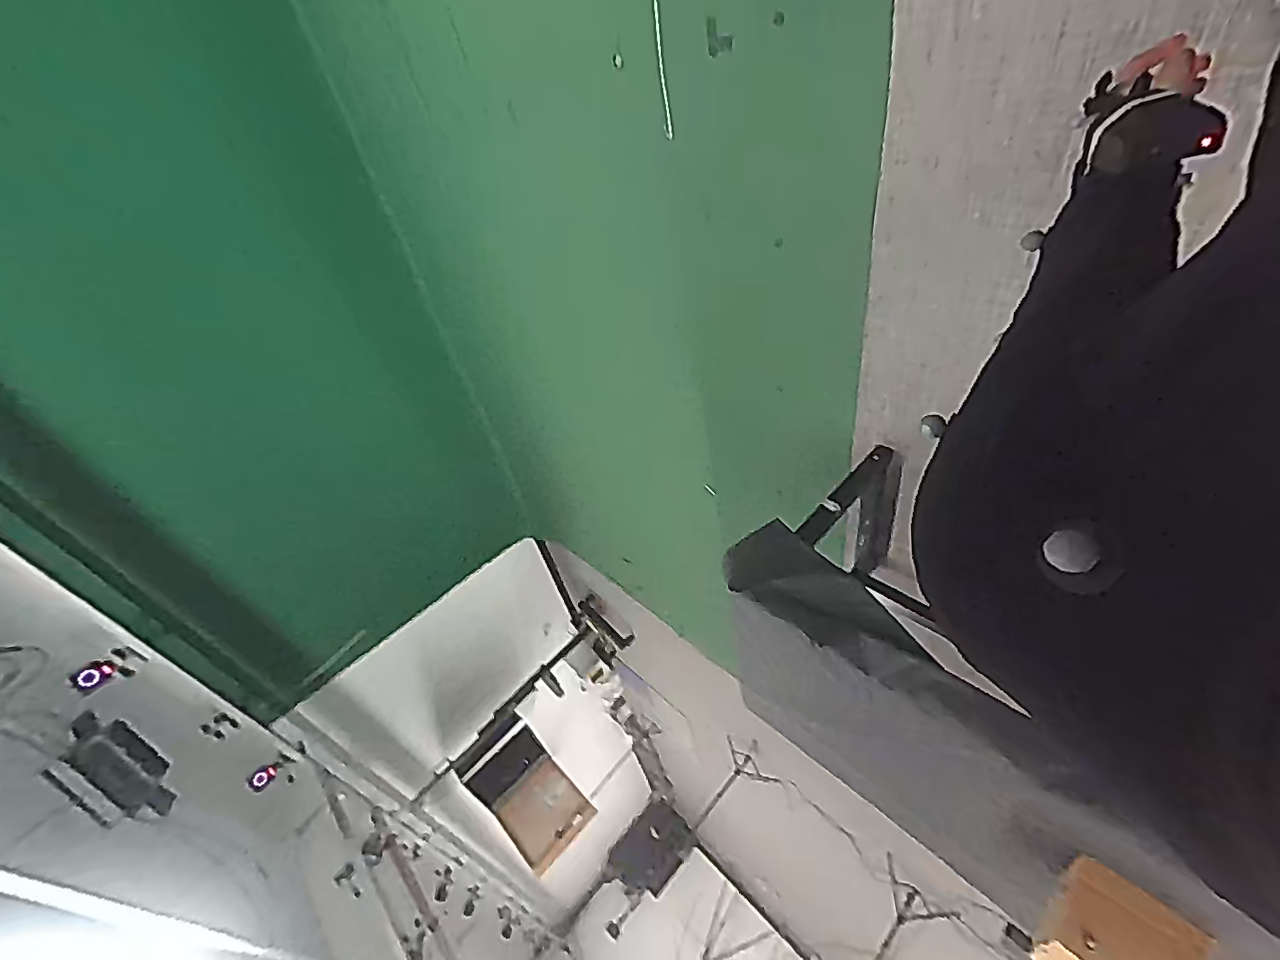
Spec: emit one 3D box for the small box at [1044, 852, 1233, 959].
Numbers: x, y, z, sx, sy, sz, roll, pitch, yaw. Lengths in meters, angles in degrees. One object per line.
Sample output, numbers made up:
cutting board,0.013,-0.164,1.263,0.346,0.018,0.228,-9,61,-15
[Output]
small box,0.833,0.782,0.910,0.179,0.176,0.168,29,147,41
